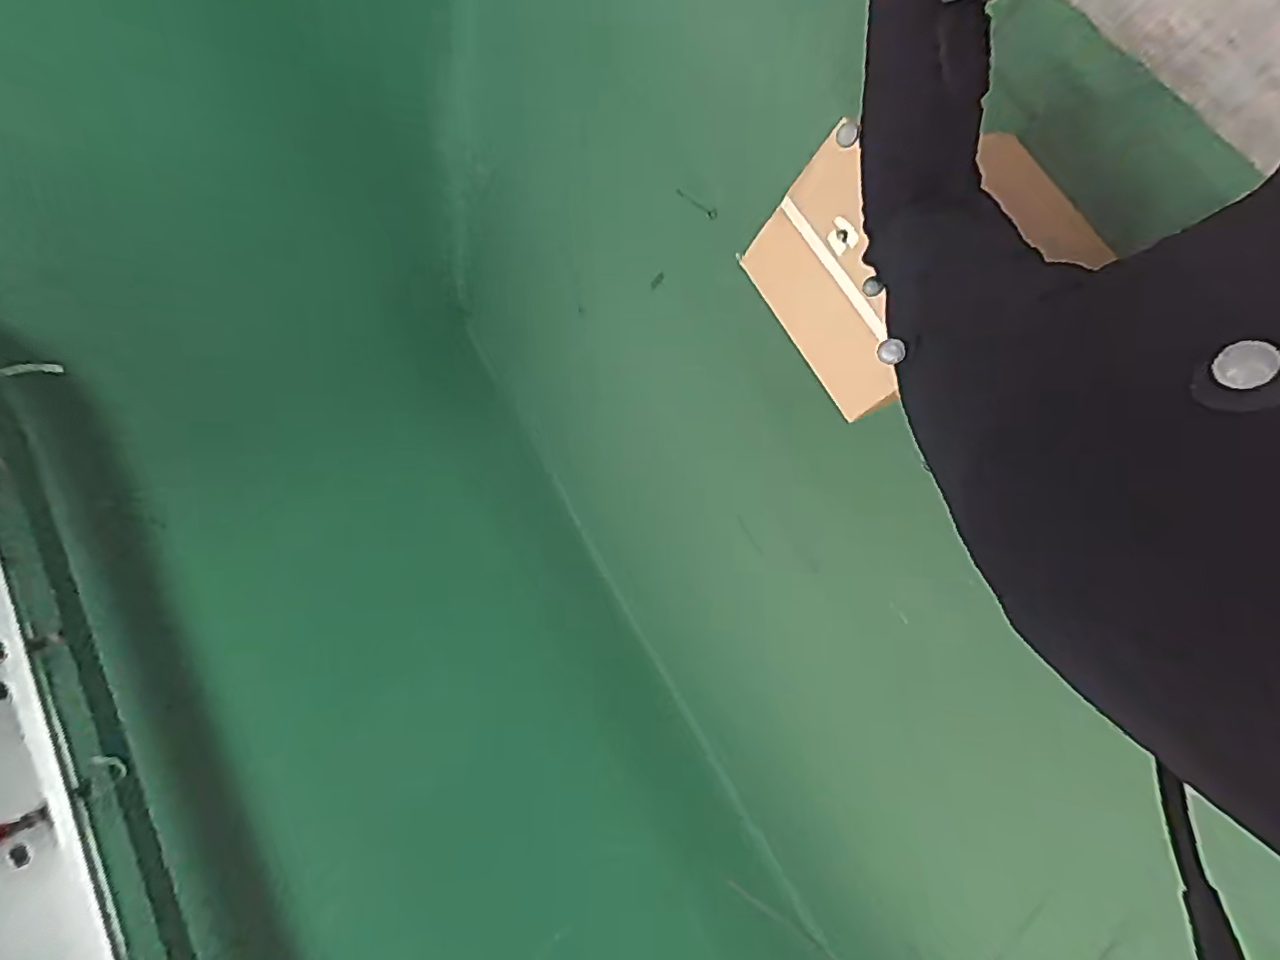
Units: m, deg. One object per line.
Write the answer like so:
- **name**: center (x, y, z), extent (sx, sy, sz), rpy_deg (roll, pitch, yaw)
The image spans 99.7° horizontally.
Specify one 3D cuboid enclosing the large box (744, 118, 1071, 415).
- **large box**: center (0.483, -0.396, 1.019), extent (0.408, 0.320, 0.320), rpy_deg (60, 146, 12)
